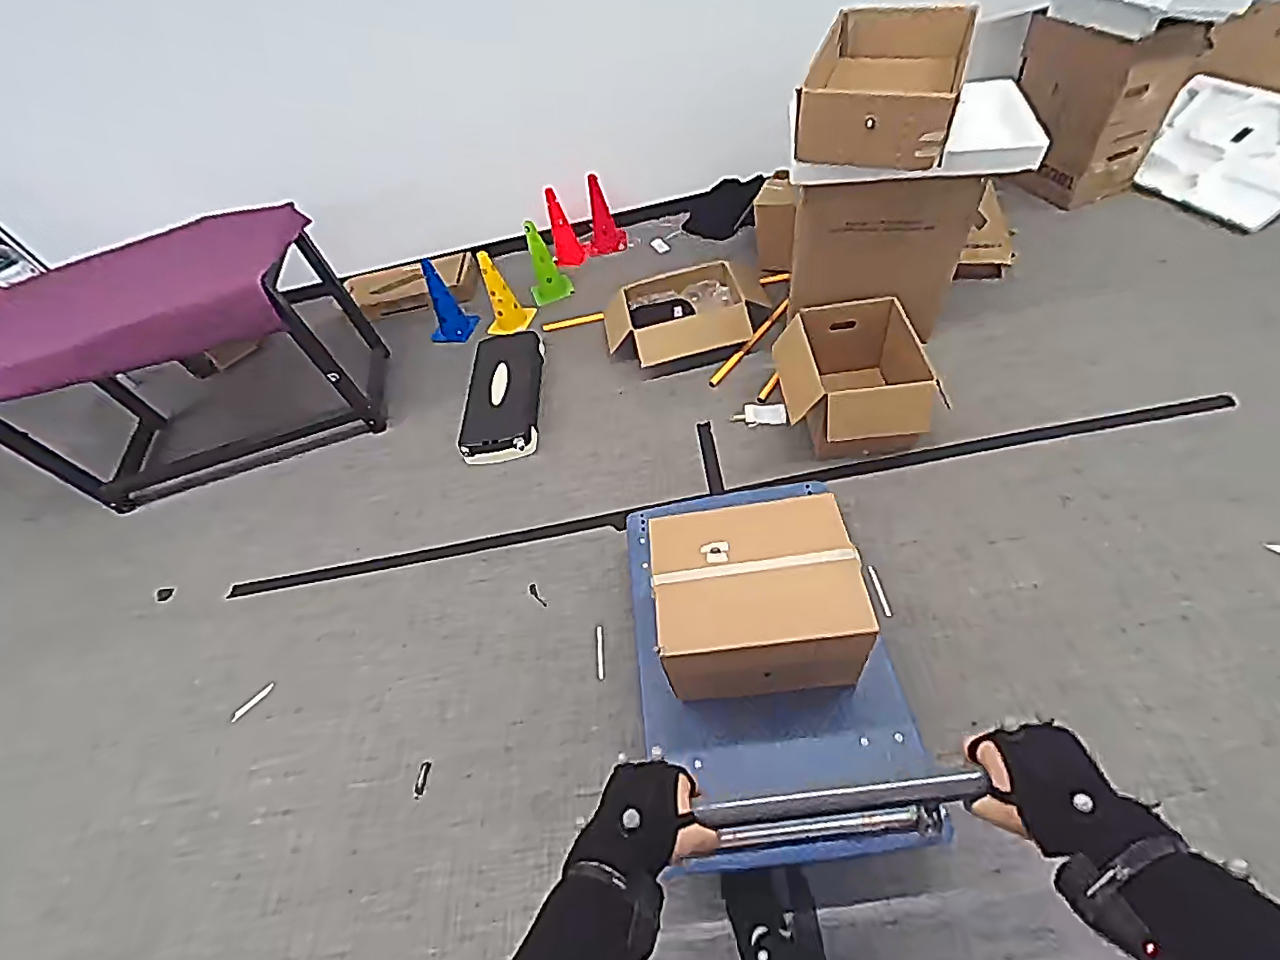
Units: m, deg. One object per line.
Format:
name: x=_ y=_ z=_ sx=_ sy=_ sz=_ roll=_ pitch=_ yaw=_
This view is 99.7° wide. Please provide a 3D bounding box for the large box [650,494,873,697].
large box: x=0.255 y=0.271 z=1.218 sx=0.408 sy=0.320 sz=0.320 roll=-10 pitch=51 yaw=6
